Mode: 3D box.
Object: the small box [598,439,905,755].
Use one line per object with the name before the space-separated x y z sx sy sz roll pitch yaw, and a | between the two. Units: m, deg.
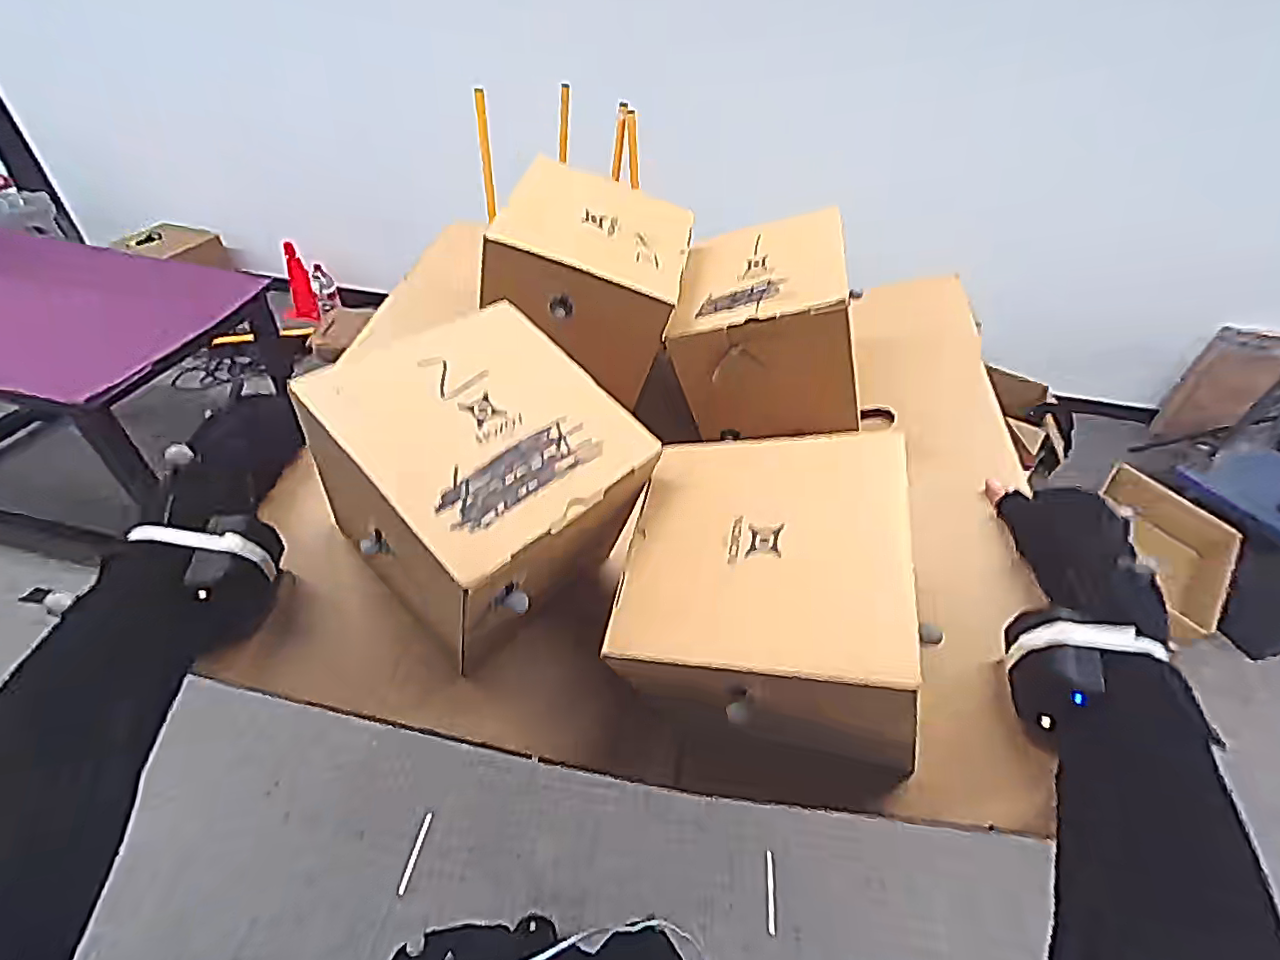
small box | 0.099 0.089 0.404 0.179 0.176 0.168 -3 51 26
